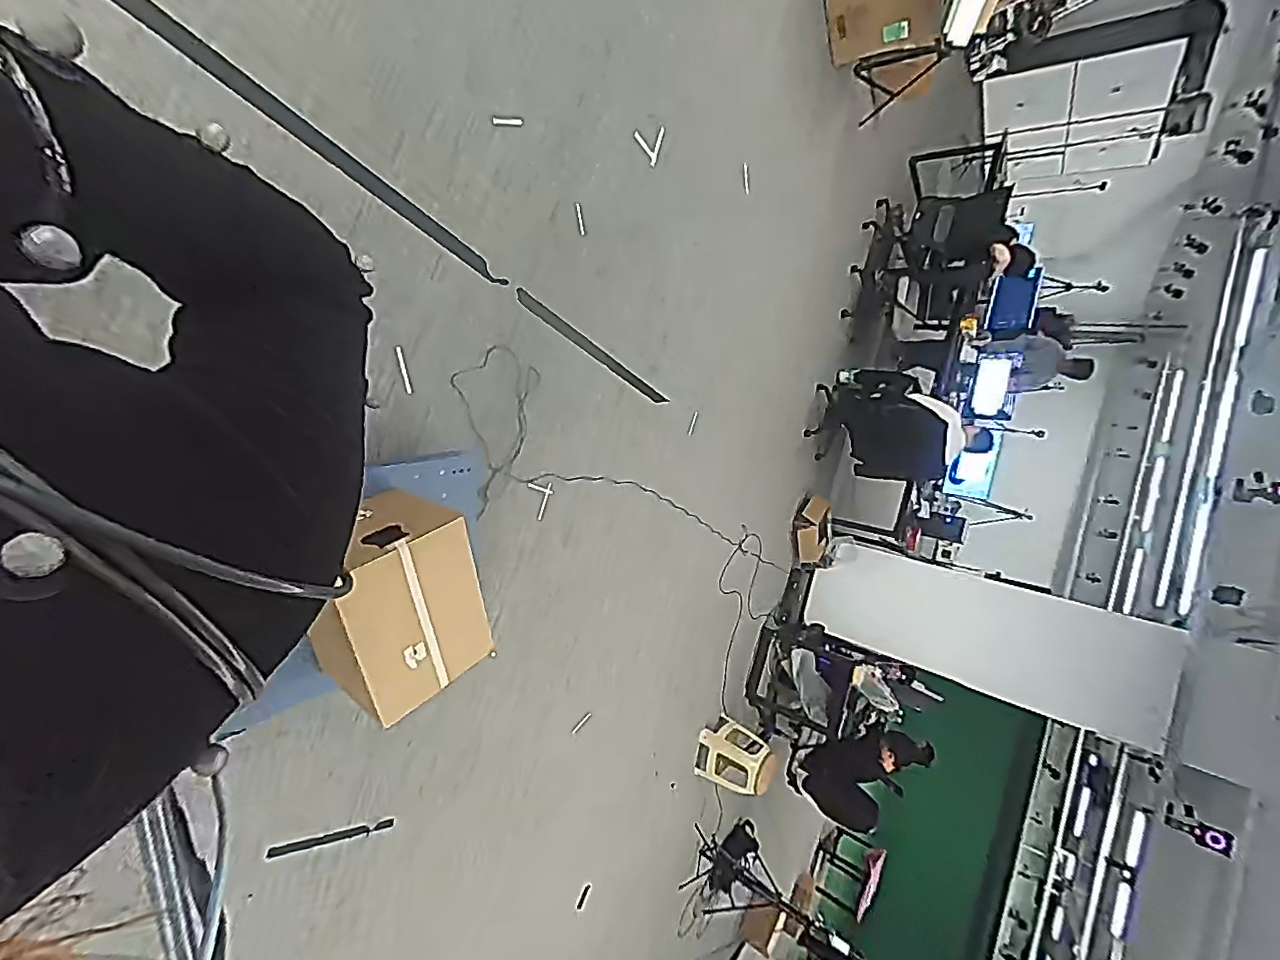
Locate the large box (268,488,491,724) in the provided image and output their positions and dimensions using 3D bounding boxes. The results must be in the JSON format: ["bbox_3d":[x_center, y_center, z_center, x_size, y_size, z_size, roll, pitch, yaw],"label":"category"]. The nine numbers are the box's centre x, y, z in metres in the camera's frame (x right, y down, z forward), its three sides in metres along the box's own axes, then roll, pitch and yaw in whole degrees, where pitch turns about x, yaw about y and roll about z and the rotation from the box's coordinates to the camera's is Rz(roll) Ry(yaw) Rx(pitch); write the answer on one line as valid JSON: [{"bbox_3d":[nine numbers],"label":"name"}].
[{"bbox_3d":[-0.615,0.282,1.311,0.320,0.320,0.408,-30,125,-44],"label":"large box"}]
